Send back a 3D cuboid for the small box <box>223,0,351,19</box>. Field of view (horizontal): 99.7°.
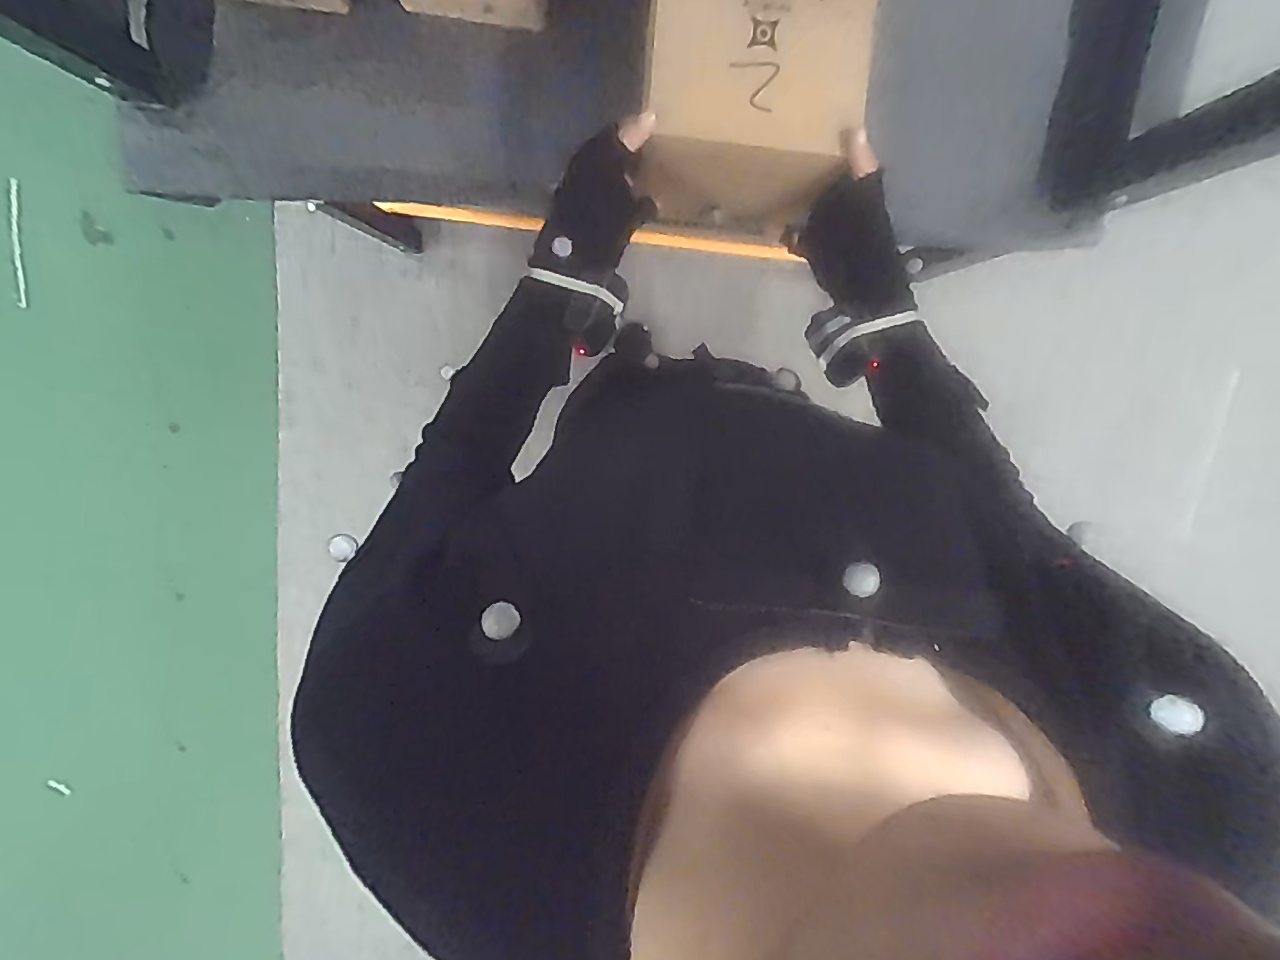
[{"bbox_3d":[-0.411,-0.625,0.544,0.168,0.176,0.179,6,101,-1],"label":"small box"}]

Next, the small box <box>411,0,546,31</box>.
[{"bbox_3d":[-0.184,-0.608,0.550,0.168,0.176,0.179,7,100,-1],"label":"small box"}]
